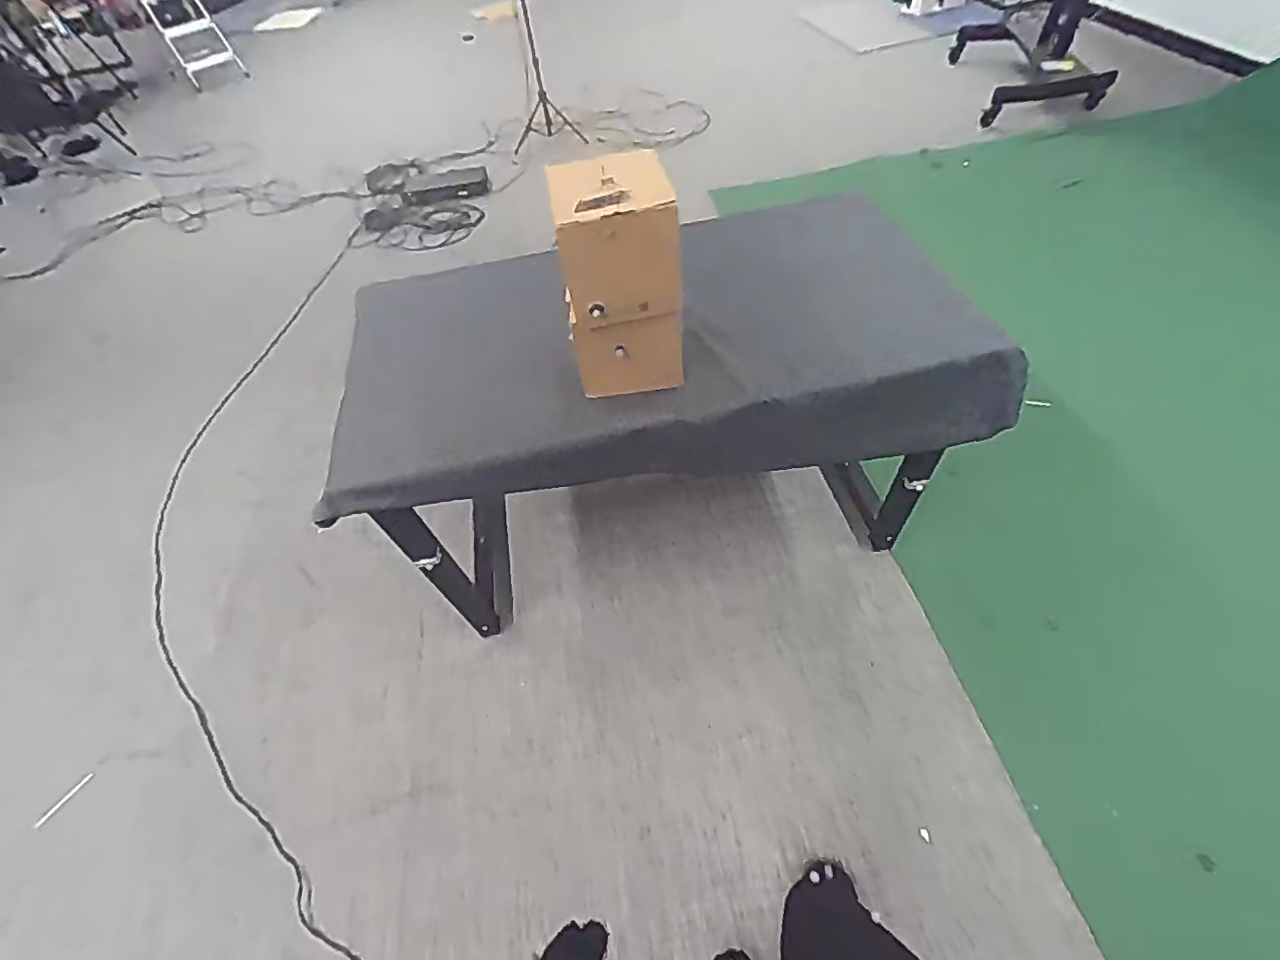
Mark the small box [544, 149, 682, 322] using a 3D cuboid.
[{"bbox_3d":[-0.036,-0.361,0.820,0.168,0.176,0.179,-14,54,-3],"label":"small box"}]

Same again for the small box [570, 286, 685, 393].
[{"bbox_3d":[-0.020,-0.274,0.962,0.179,0.176,0.168,-9,52,-1],"label":"small box"}]
